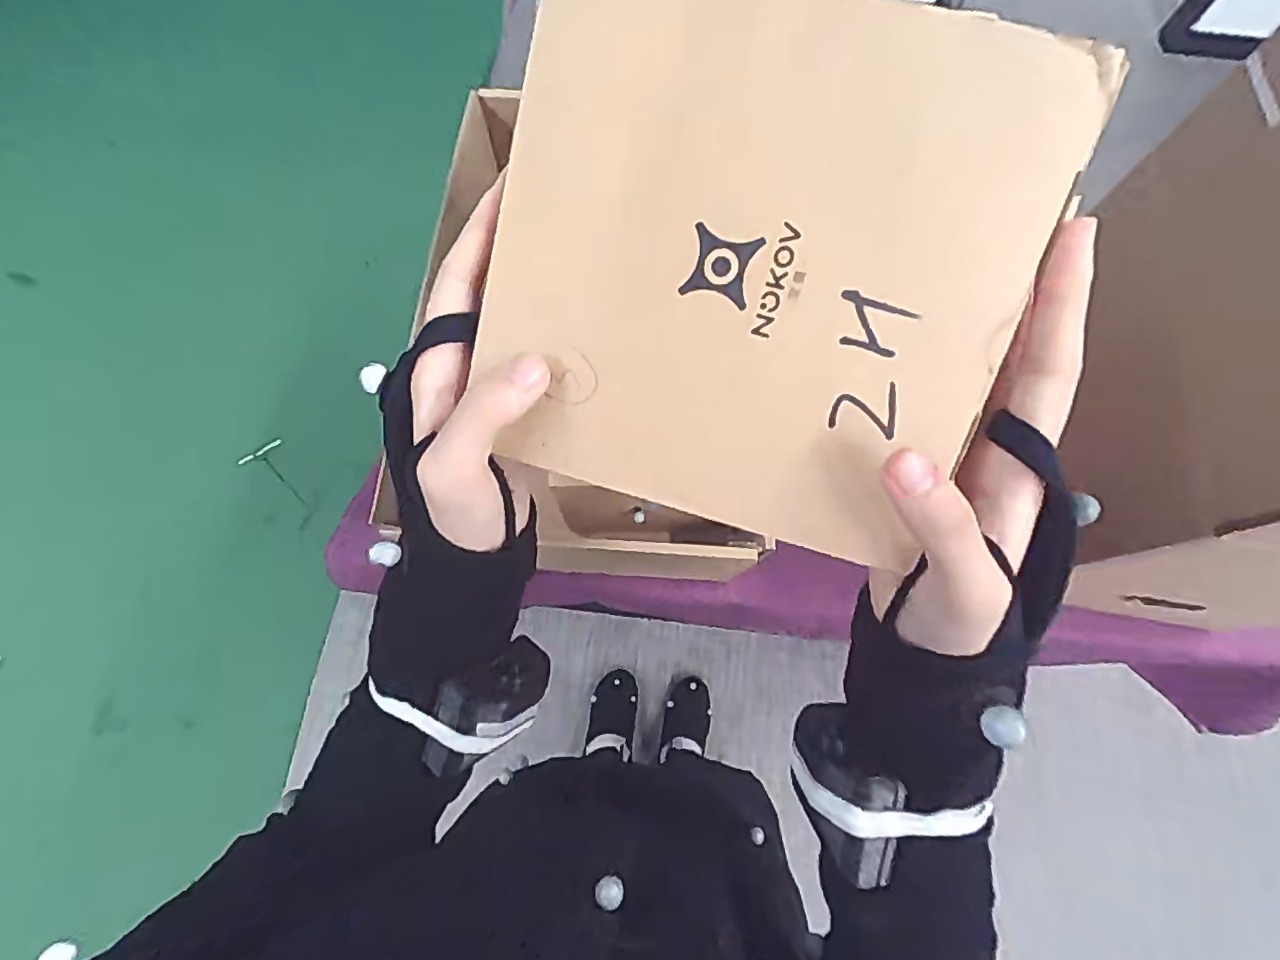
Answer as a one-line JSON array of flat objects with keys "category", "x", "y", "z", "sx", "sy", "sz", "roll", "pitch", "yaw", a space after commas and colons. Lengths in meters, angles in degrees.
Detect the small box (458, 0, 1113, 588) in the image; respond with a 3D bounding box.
[{"category": "small box", "x": 0.045, "y": -0.077, "z": 0.260, "sx": 0.179, "sy": 0.176, "sz": 0.168, "roll": 18, "pitch": 105, "yaw": 4}]
